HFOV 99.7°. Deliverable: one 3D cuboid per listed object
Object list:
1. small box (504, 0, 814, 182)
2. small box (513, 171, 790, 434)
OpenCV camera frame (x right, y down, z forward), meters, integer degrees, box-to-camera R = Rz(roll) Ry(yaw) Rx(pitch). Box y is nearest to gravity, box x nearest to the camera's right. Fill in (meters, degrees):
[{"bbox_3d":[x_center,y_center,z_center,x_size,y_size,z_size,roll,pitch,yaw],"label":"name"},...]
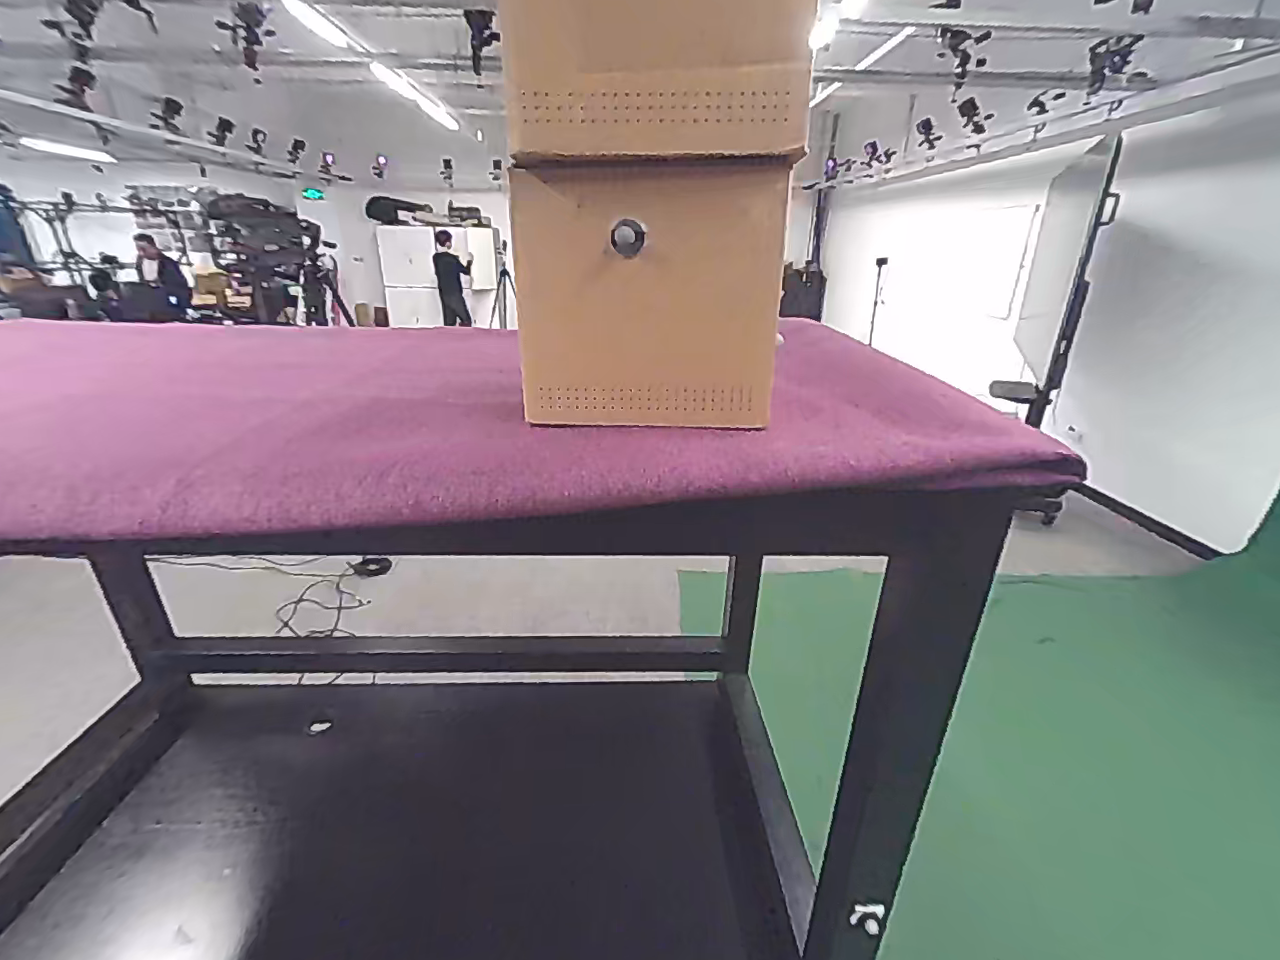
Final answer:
[{"bbox_3d":[0.011,-0.283,0.358,0.179,0.176,0.168,0,22,0],"label":"small box"},{"bbox_3d":[0.012,-0.137,0.432,0.179,0.176,0.168,2,21,4],"label":"small box"}]
